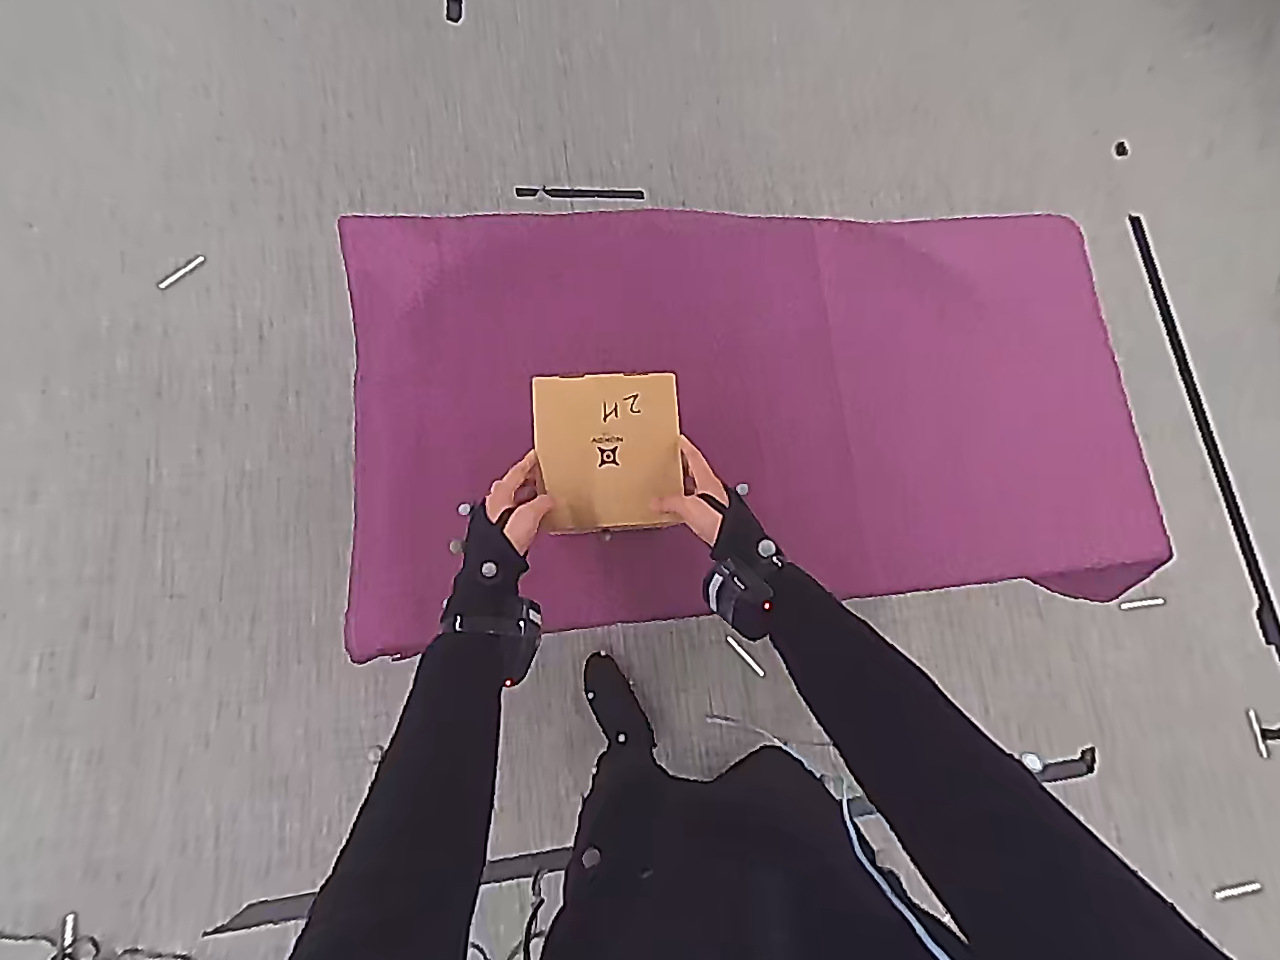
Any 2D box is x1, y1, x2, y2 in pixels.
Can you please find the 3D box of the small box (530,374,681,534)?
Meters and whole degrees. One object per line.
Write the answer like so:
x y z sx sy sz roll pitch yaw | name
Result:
-0.045 -0.023 0.682 0.168 0.176 0.179 -3 83 -6 | small box
